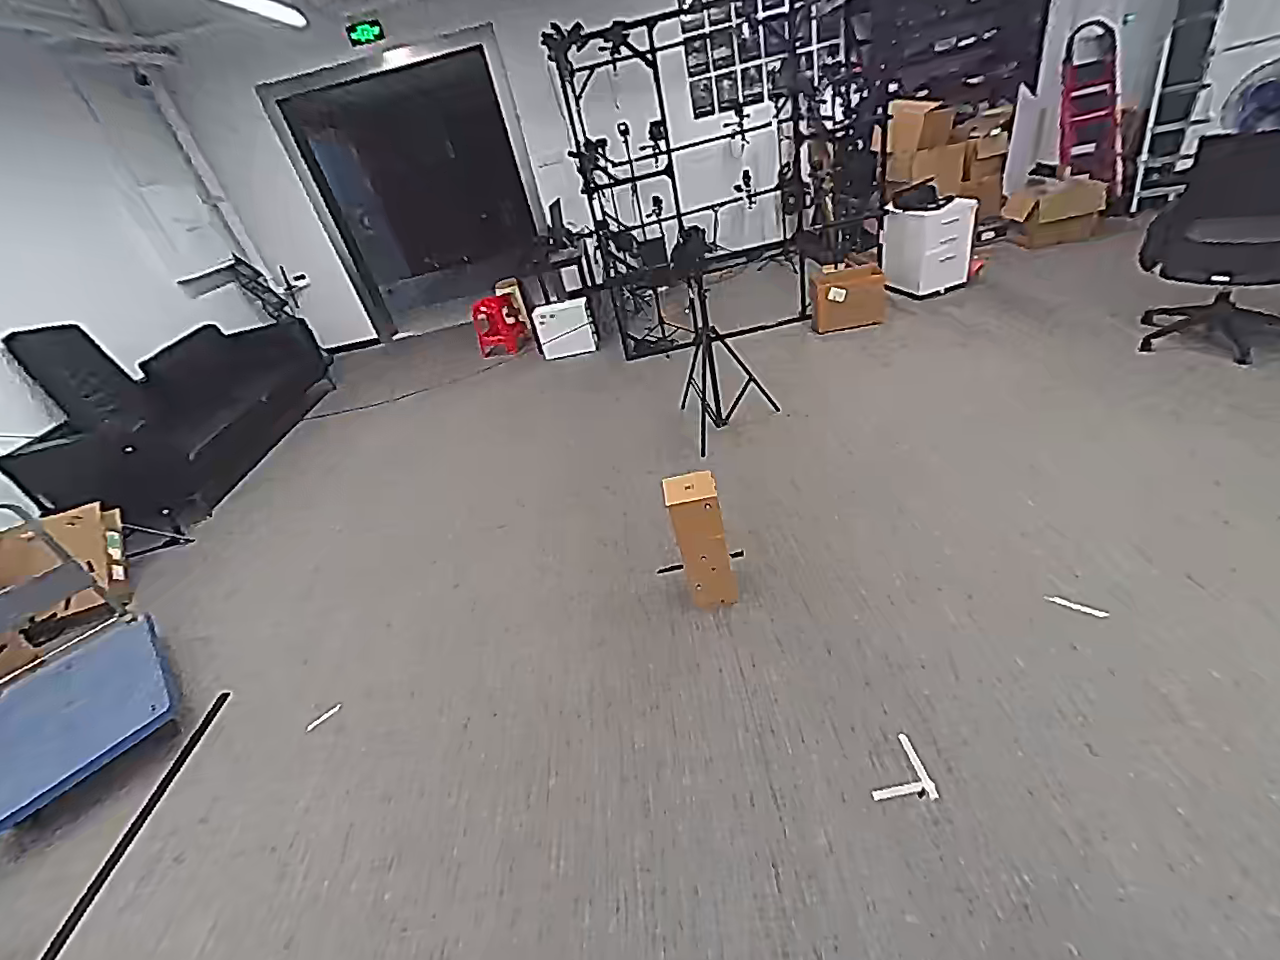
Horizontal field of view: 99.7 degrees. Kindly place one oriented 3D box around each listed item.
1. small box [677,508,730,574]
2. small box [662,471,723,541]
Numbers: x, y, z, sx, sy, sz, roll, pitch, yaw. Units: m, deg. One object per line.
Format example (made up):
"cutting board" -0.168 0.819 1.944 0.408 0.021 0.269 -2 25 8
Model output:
"small box" 0.228 0.226 1.967 0.168 0.176 0.179 -9 32 7
"small box" 0.183 0.094 1.883 0.179 0.176 0.168 -12 33 4
